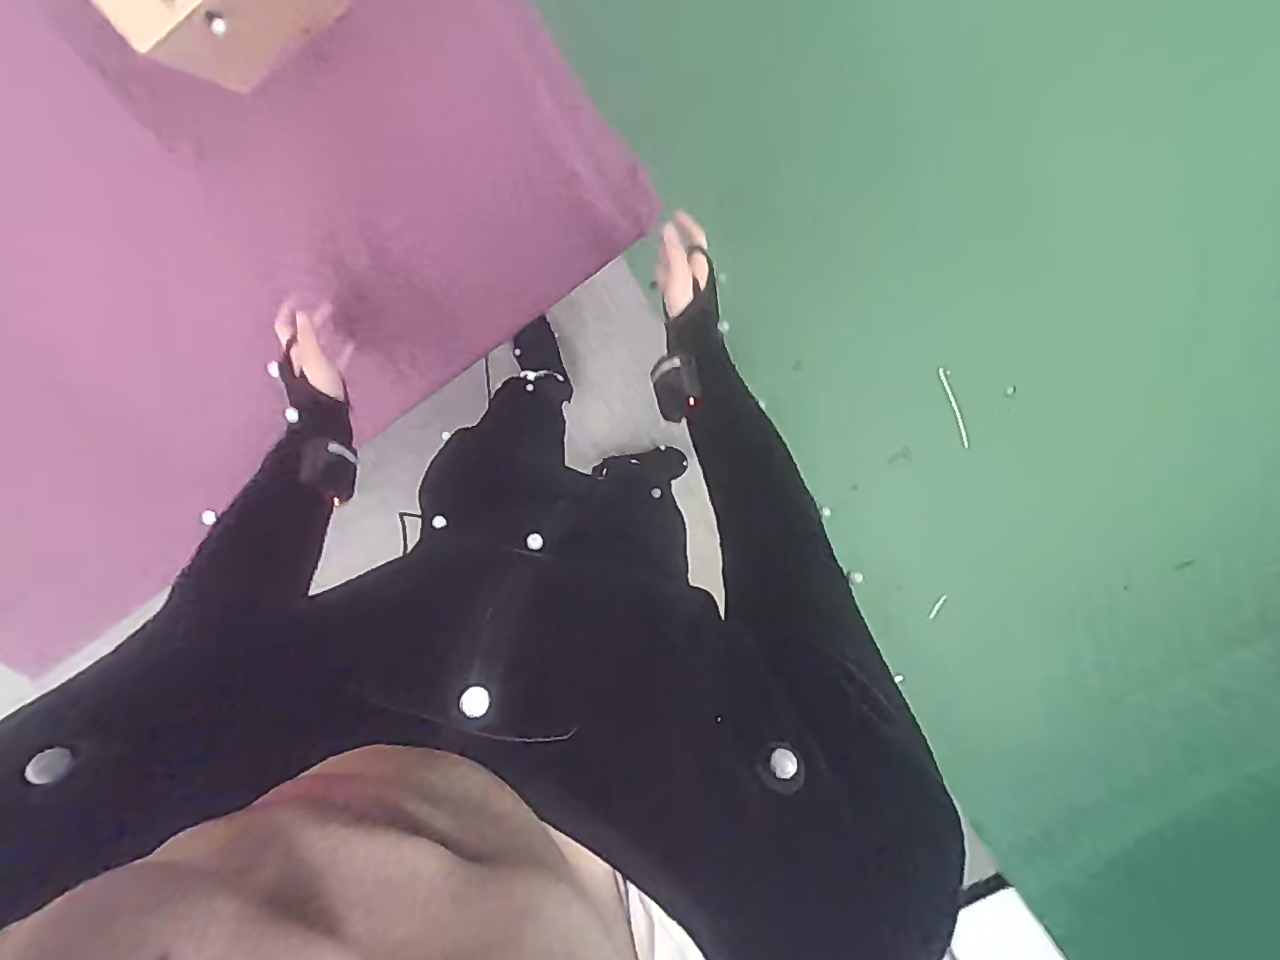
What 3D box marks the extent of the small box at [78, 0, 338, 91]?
[{"bbox_3d":[-0.420,-0.497,0.482,0.168,0.176,0.179,-32,115,8],"label":"small box"}]
